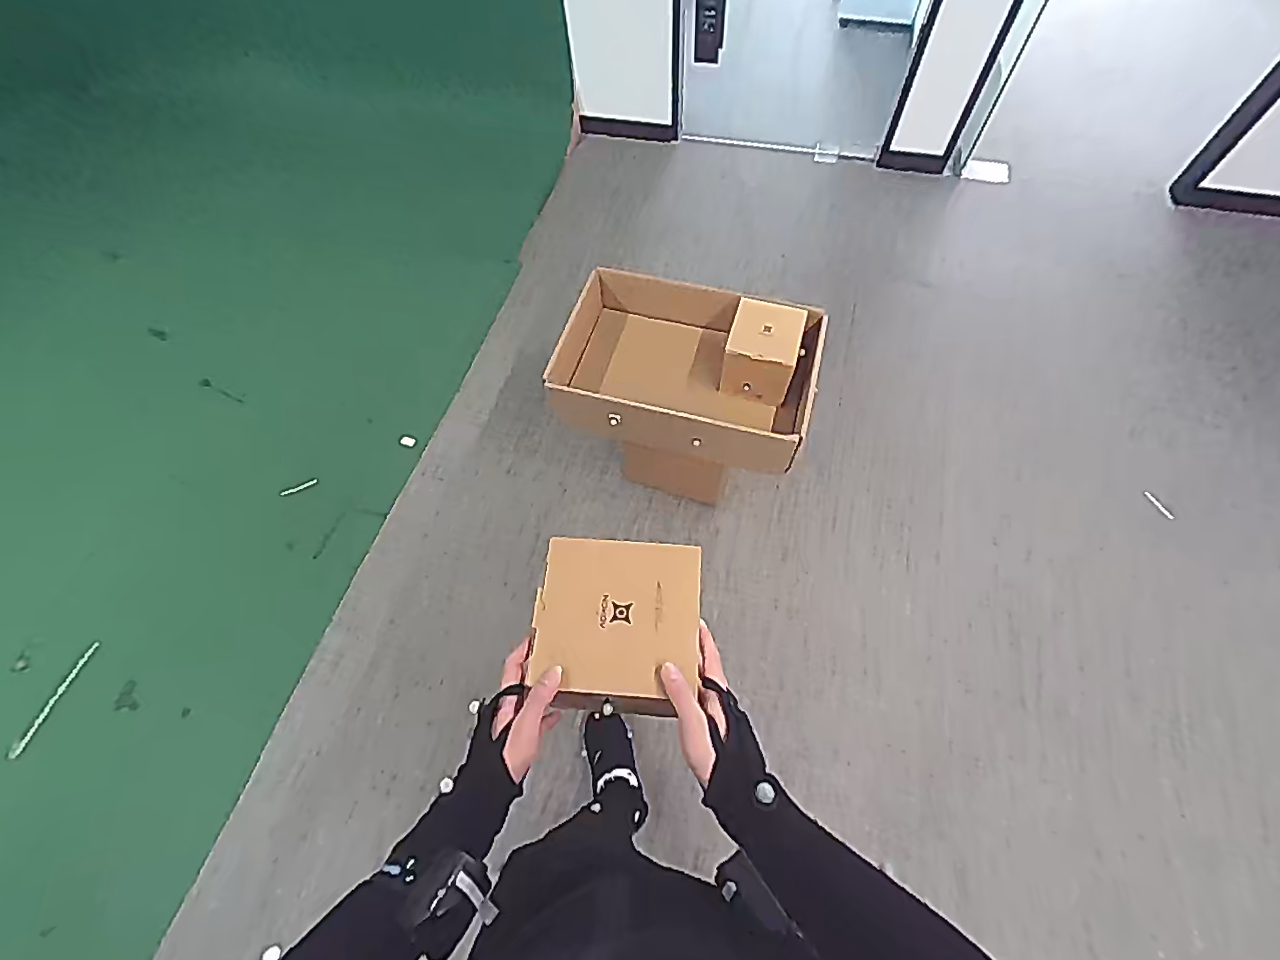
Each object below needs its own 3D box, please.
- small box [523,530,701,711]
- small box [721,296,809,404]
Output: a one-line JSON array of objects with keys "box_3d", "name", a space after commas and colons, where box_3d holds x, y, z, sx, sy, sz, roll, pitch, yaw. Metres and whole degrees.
[{"box_3d": [-0.022, 0.173, 0.644, 0.179, 0.176, 0.168, 4, 61, 4], "name": "small box"}, {"box_3d": [0.303, -0.318, 1.341, 0.168, 0.176, 0.179, 15, 66, 9], "name": "small box"}]
